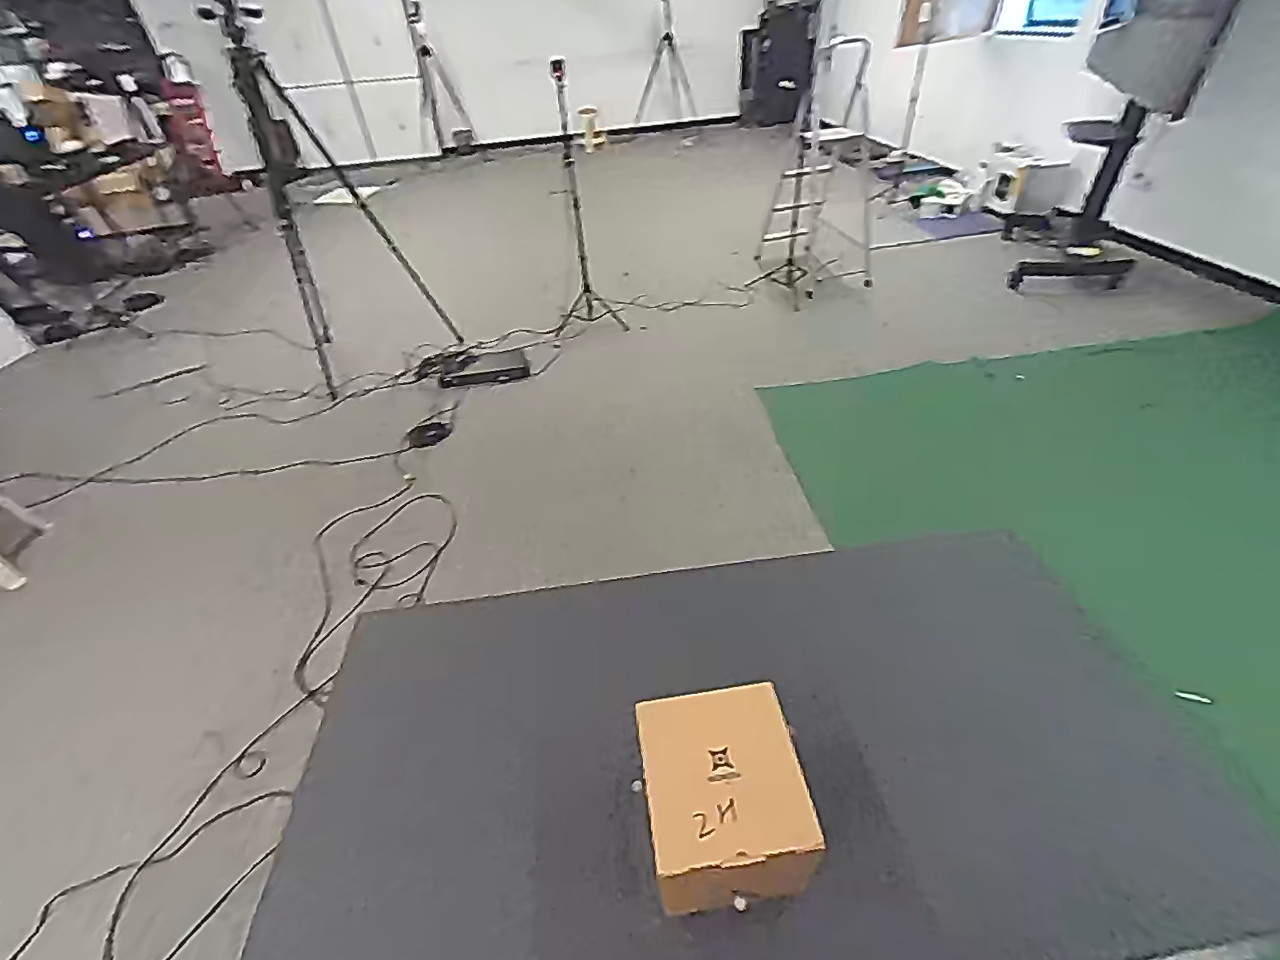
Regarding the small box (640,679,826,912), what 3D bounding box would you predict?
[{"bbox_3d":[0.094,0.363,0.629,0.168,0.176,0.179,-9,41,-3],"label":"small box"}]
